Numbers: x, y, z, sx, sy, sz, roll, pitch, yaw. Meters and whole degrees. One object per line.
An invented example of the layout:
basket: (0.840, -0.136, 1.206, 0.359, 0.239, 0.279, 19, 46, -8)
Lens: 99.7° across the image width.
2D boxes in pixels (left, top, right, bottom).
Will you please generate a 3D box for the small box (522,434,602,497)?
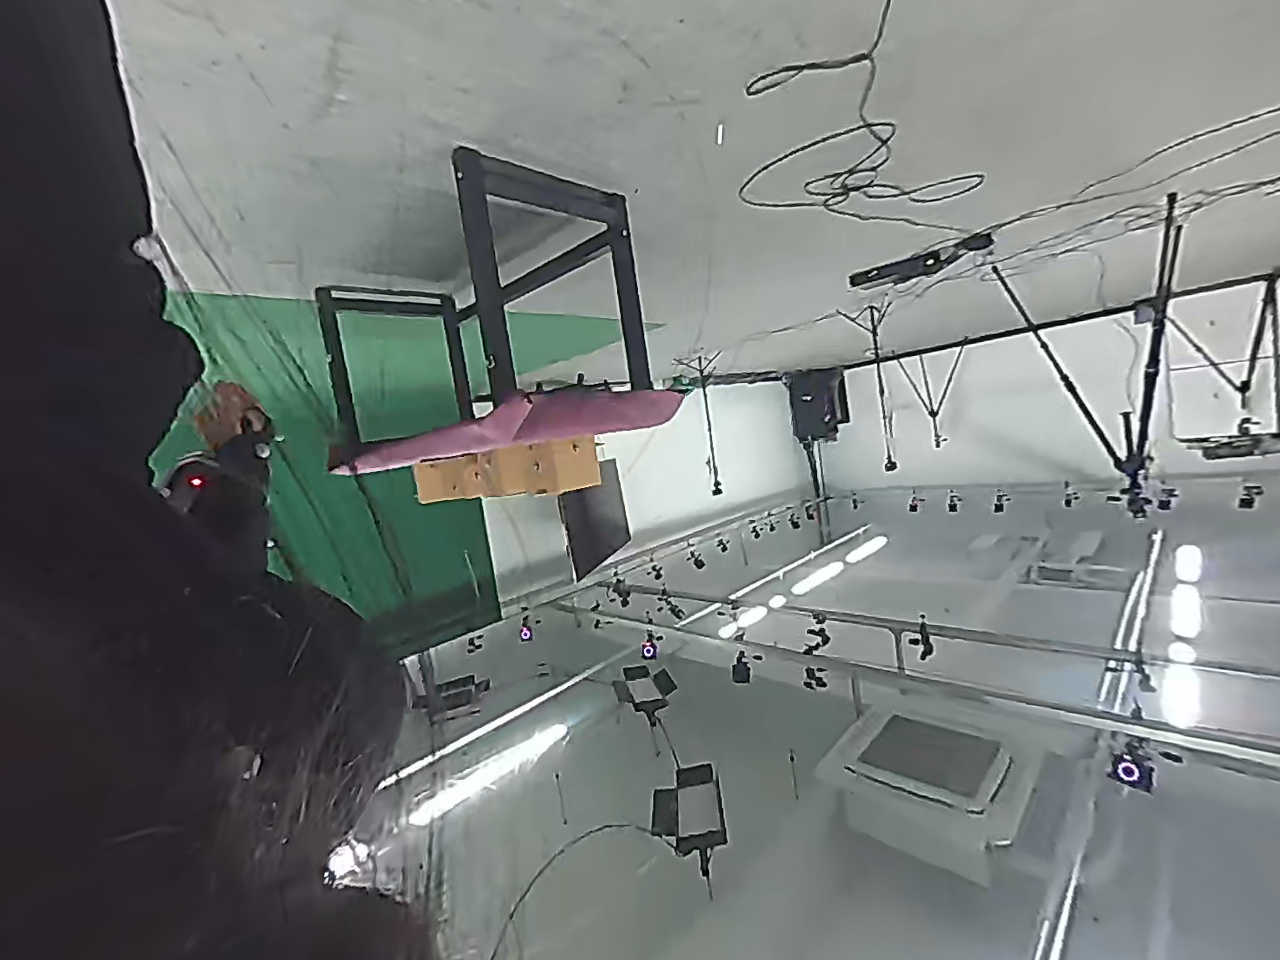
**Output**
small box: (-0.245, -0.047, 1.682, 0.168, 0.176, 0.179, -5, -175, 43)

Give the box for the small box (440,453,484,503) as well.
small box: (-0.632, -0.014, 2.040, 0.179, 0.176, 0.168, -5, -175, 40)

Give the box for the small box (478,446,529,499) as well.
small box: (-0.438, -0.030, 1.868, 0.179, 0.176, 0.168, -12, -175, -42)

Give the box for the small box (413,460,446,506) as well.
small box: (-0.824, 0.004, 2.213, 0.168, 0.176, 0.179, -12, -175, -25)
